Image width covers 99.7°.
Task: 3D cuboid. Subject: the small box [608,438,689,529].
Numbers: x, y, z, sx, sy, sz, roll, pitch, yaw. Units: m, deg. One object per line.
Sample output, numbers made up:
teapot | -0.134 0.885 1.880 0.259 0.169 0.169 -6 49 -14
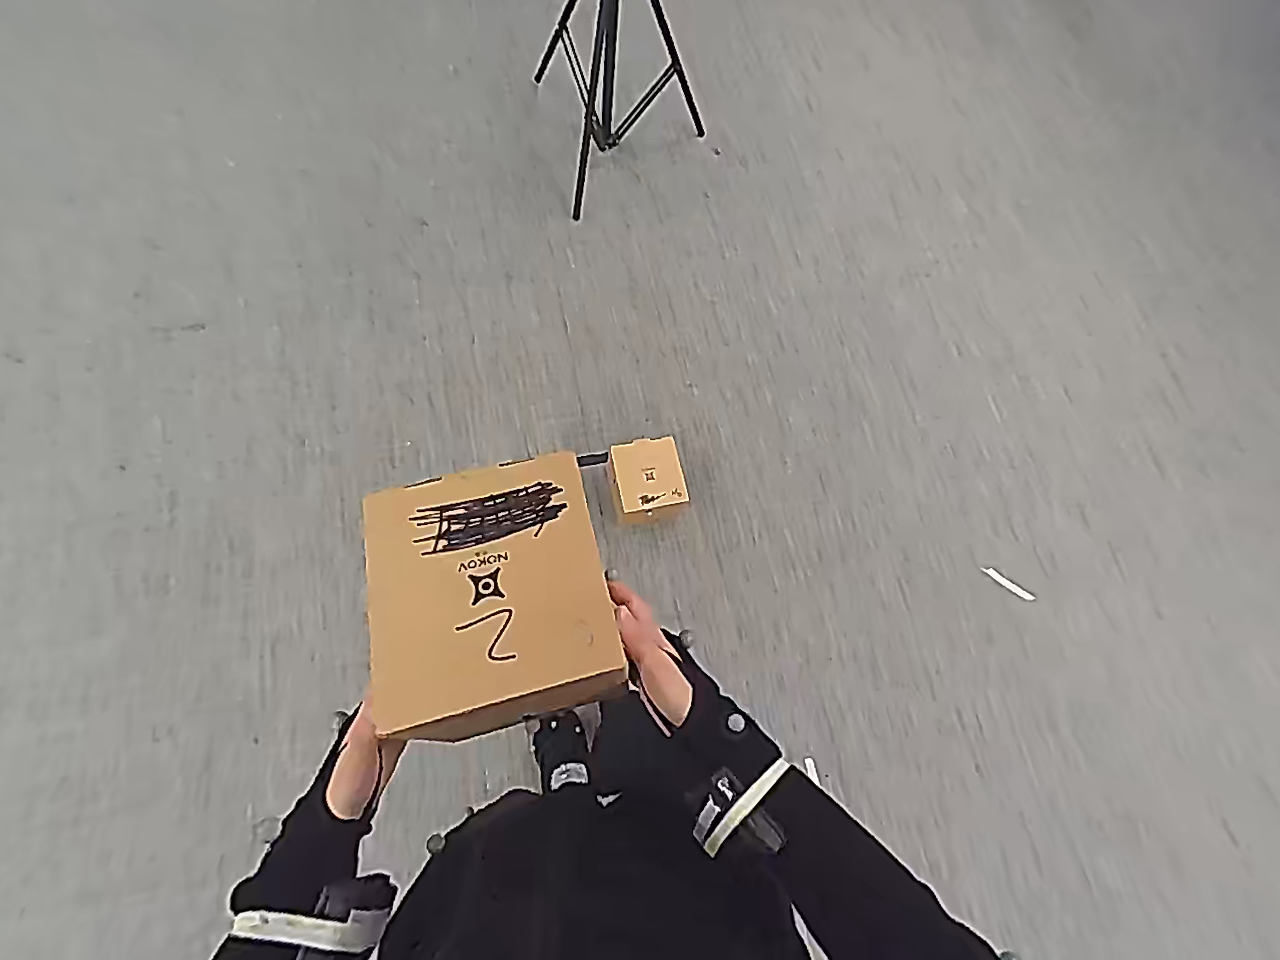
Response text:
small box | 0.015 0.012 1.397 0.168 0.176 0.179 -10 73 -10
